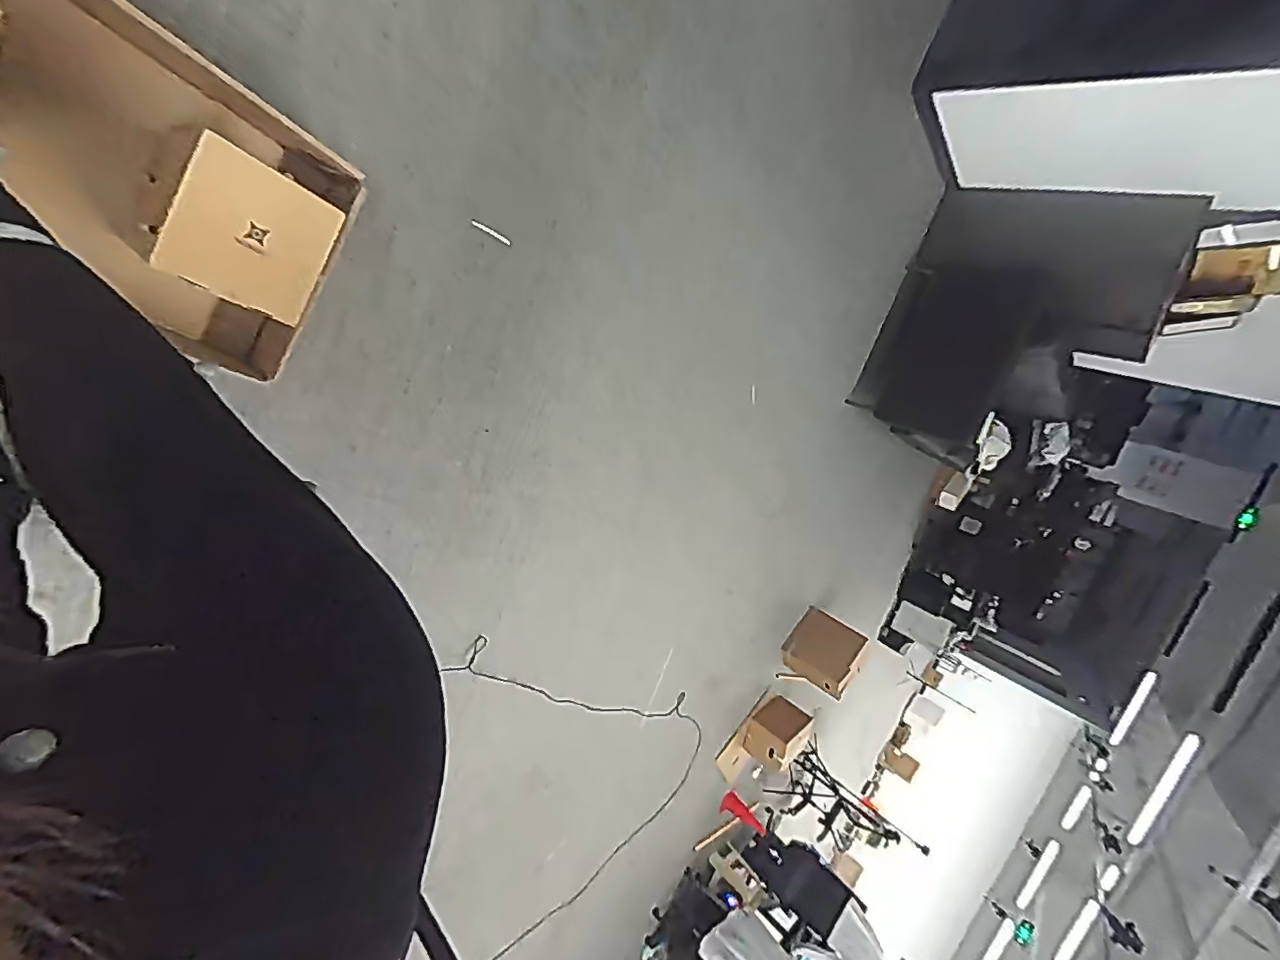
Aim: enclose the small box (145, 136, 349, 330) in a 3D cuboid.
[{"bbox_3d":[-0.544,-0.337,0.745,0.168,0.176,0.179,23,94,-51],"label":"small box"}]
